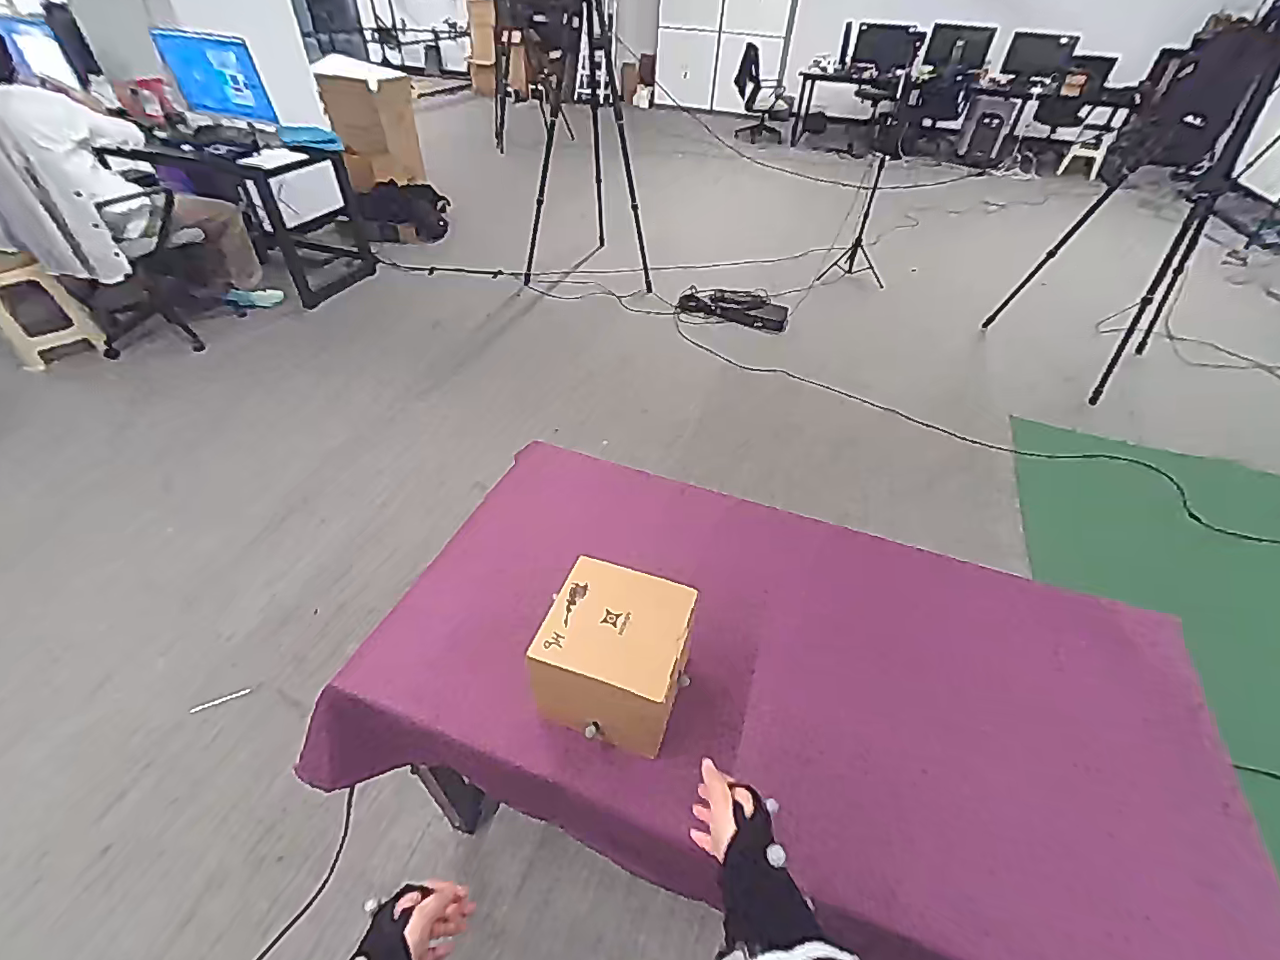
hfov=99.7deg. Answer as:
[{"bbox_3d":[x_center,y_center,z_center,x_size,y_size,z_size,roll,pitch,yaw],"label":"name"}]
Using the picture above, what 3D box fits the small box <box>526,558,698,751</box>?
[{"bbox_3d":[-0.034,0.241,0.738,0.179,0.176,0.168,16,44,12],"label":"small box"}]
